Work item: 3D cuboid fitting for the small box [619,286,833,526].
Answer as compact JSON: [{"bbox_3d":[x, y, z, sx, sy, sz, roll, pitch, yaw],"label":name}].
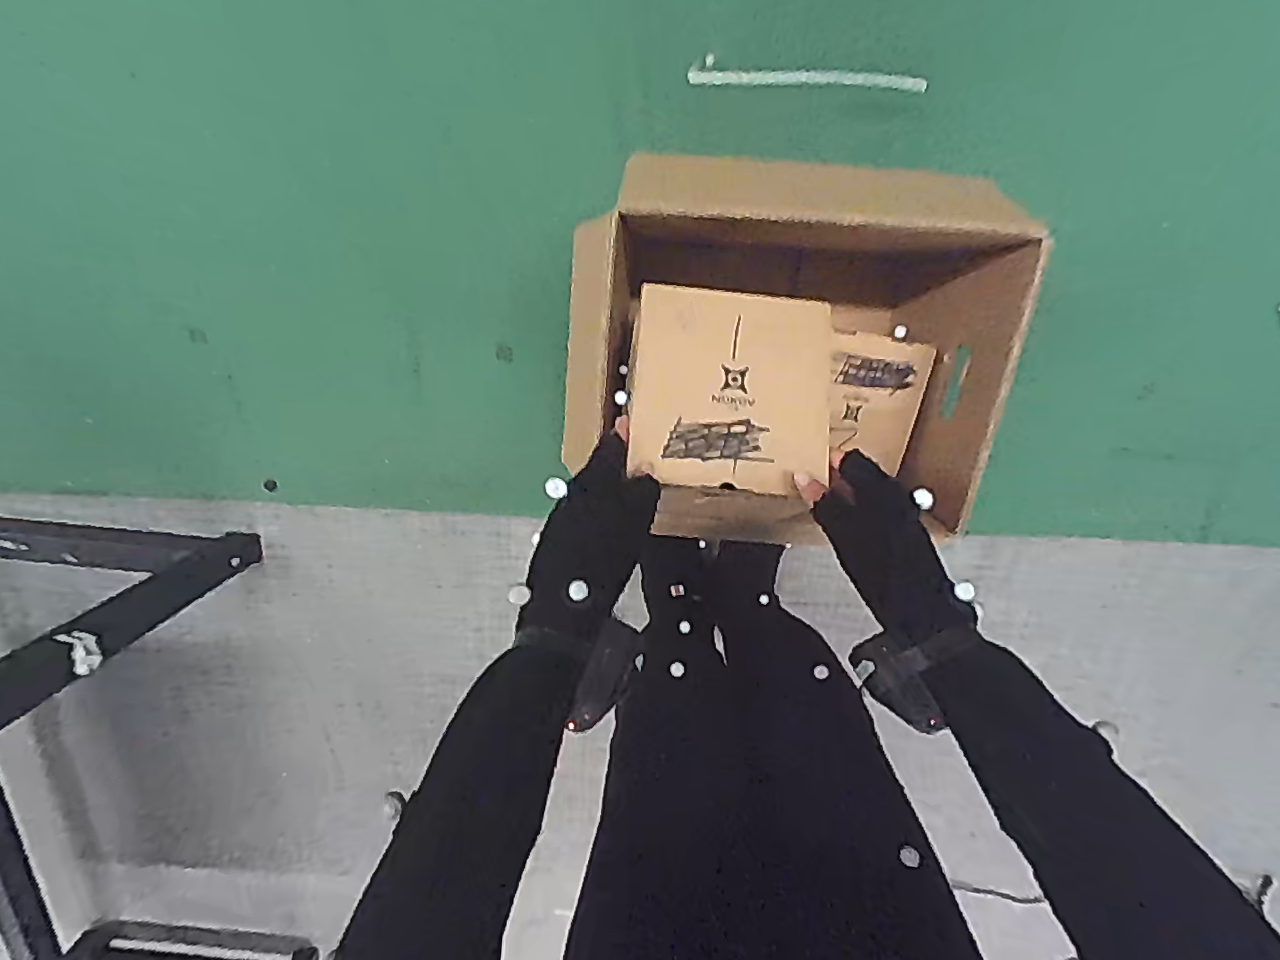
[{"bbox_3d":[0.070,-0.054,0.516,0.168,0.176,0.179,6,78,-2],"label":"small box"}]
